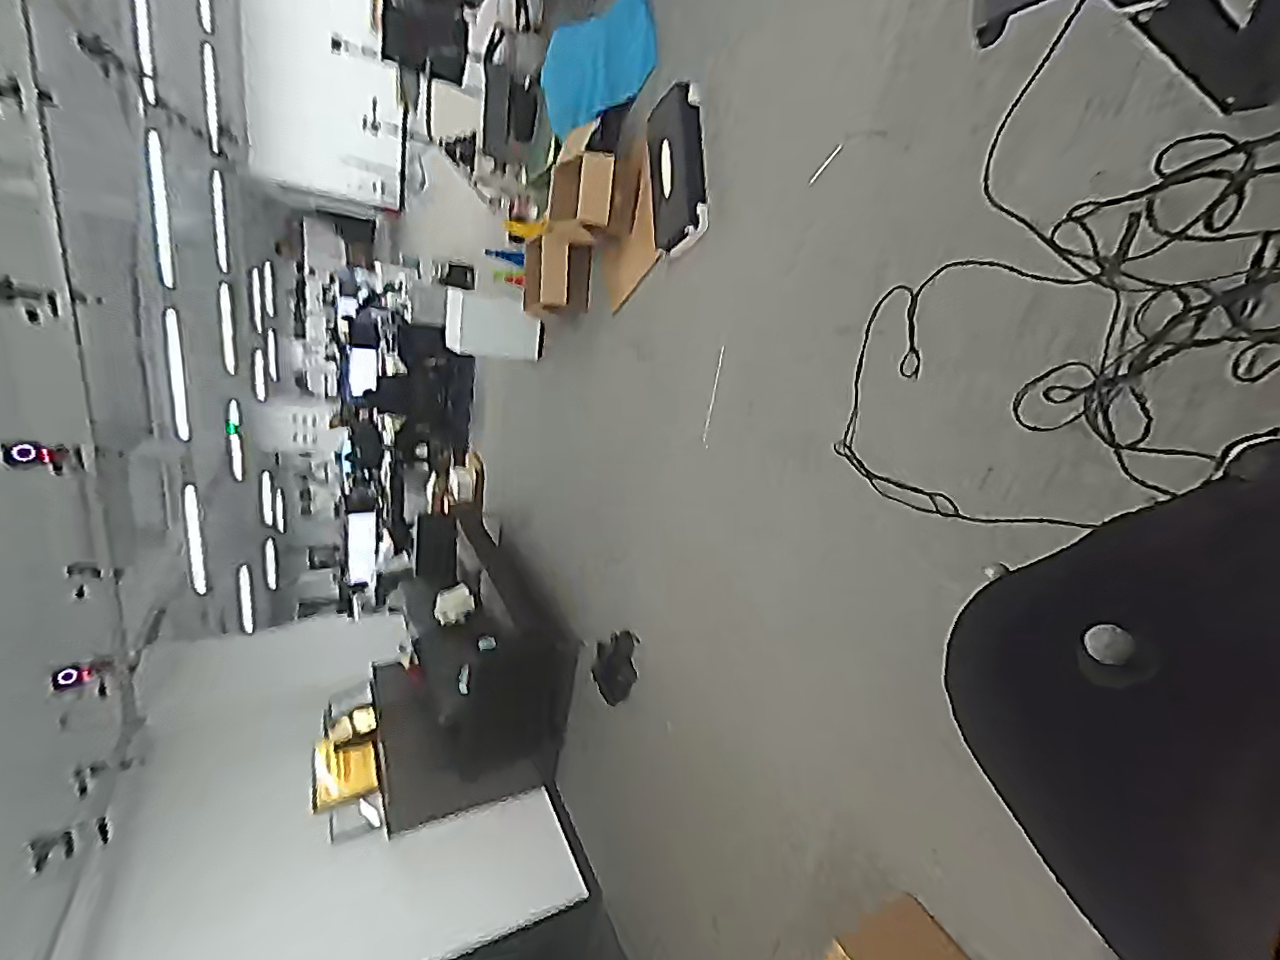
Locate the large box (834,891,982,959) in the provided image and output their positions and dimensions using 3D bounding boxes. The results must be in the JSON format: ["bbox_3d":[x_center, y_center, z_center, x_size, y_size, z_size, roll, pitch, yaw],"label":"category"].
[{"bbox_3d":[0.721,1.360,1.334,0.408,0.320,0.320,38,123,55],"label":"large box"}]
